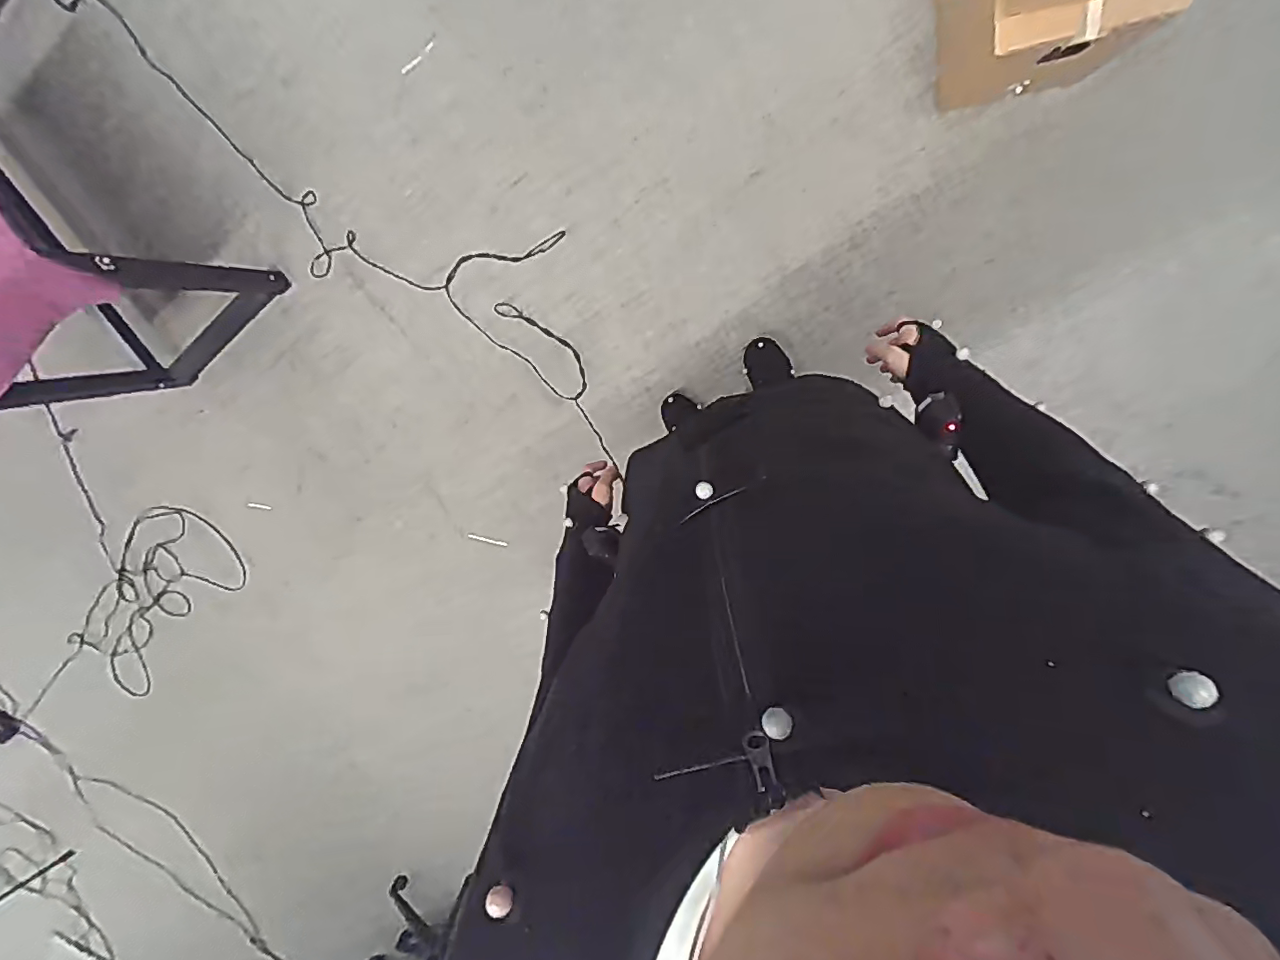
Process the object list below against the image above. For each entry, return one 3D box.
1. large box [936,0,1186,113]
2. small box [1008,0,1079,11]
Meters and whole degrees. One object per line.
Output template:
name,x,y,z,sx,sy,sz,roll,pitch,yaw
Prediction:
large box,0.799,-1.038,1.069,0.320,0.320,0.408,-7,105,11
small box,0.723,-0.899,0.864,0.179,0.176,0.168,-3,107,12
